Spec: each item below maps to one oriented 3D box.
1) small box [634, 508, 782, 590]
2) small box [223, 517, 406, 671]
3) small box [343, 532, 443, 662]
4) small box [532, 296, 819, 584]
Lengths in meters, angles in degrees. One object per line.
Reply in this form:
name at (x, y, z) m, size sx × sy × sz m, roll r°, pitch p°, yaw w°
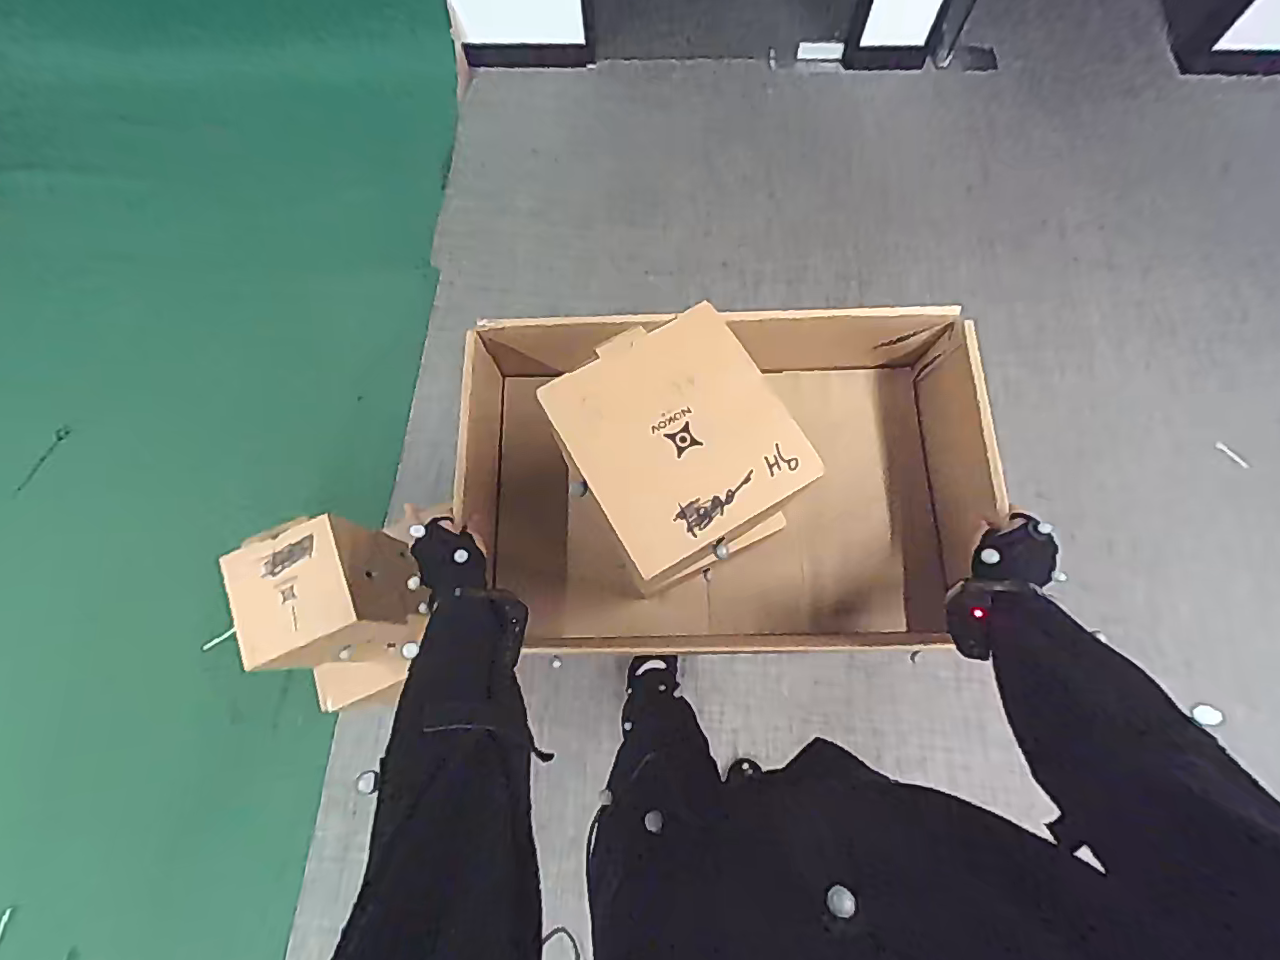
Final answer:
small box at (0.042, 0.023, 0.651) m, size 0.168 × 0.176 × 0.179 m, roll -24°, pitch 76°, yaw -7°
small box at (-0.500, 0.185, 0.851) m, size 0.168 × 0.176 × 0.179 m, roll -24°, pitch 73°, yaw -5°
small box at (-0.500, 0.226, 1.010) m, size 0.168 × 0.176 × 0.179 m, roll -29°, pitch 73°, yaw -7°
small box at (0.024, -0.022, 0.493) m, size 0.168 × 0.176 × 0.179 m, roll -30°, pitch 76°, yaw -7°
